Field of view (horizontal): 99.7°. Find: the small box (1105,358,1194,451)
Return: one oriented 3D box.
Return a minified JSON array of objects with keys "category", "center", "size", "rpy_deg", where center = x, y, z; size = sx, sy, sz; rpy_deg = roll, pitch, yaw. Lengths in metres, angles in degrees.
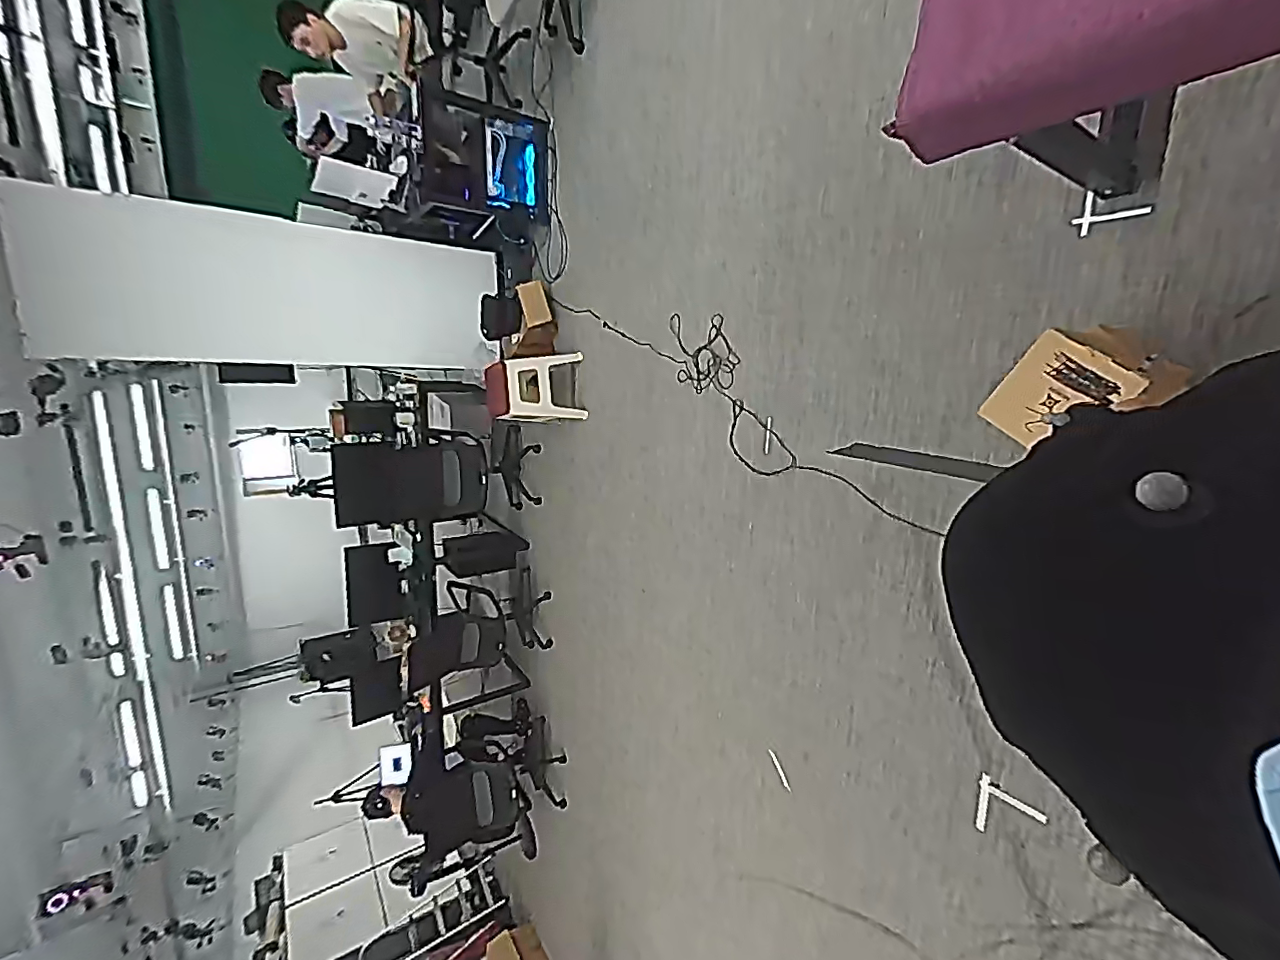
[{"category":"small box","center":[0.992,-0.179,1.129],"size":[0.168,0.176,0.179],"rpy_deg":[46,131,41]}]

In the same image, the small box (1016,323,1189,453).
[{"category":"small box","center":[0.870,-0.169,1.016],"size":[0.179,0.176,0.168],"rpy_deg":[-54,52,44]}]
